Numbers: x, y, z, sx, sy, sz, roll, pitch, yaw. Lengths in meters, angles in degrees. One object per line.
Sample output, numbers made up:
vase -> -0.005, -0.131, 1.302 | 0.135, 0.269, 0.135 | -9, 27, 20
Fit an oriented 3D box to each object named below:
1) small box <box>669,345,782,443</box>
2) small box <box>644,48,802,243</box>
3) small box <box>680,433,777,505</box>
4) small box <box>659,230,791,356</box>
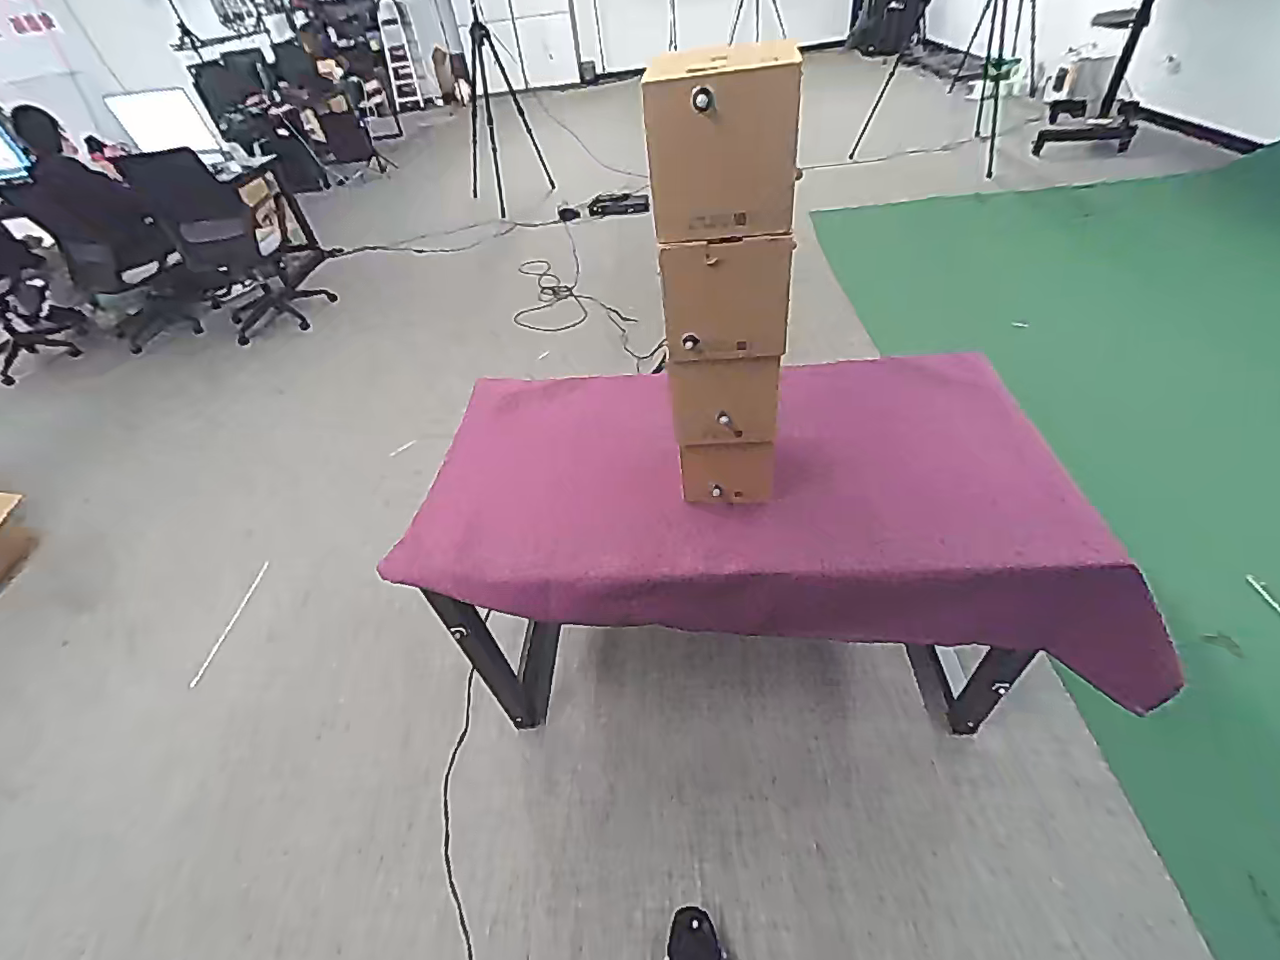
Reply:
small box -> 0.141, -0.179, 0.898 | 0.168, 0.176, 0.179 | -2, 44, 9
small box -> 0.104, -0.411, 0.669 | 0.168, 0.176, 0.179 | 0, 43, 11
small box -> 0.167, -0.074, 1.021 | 0.168, 0.176, 0.179 | 0, 45, 10
small box -> 0.125, -0.290, 0.778 | 0.168, 0.176, 0.179 | -1, 43, 9
